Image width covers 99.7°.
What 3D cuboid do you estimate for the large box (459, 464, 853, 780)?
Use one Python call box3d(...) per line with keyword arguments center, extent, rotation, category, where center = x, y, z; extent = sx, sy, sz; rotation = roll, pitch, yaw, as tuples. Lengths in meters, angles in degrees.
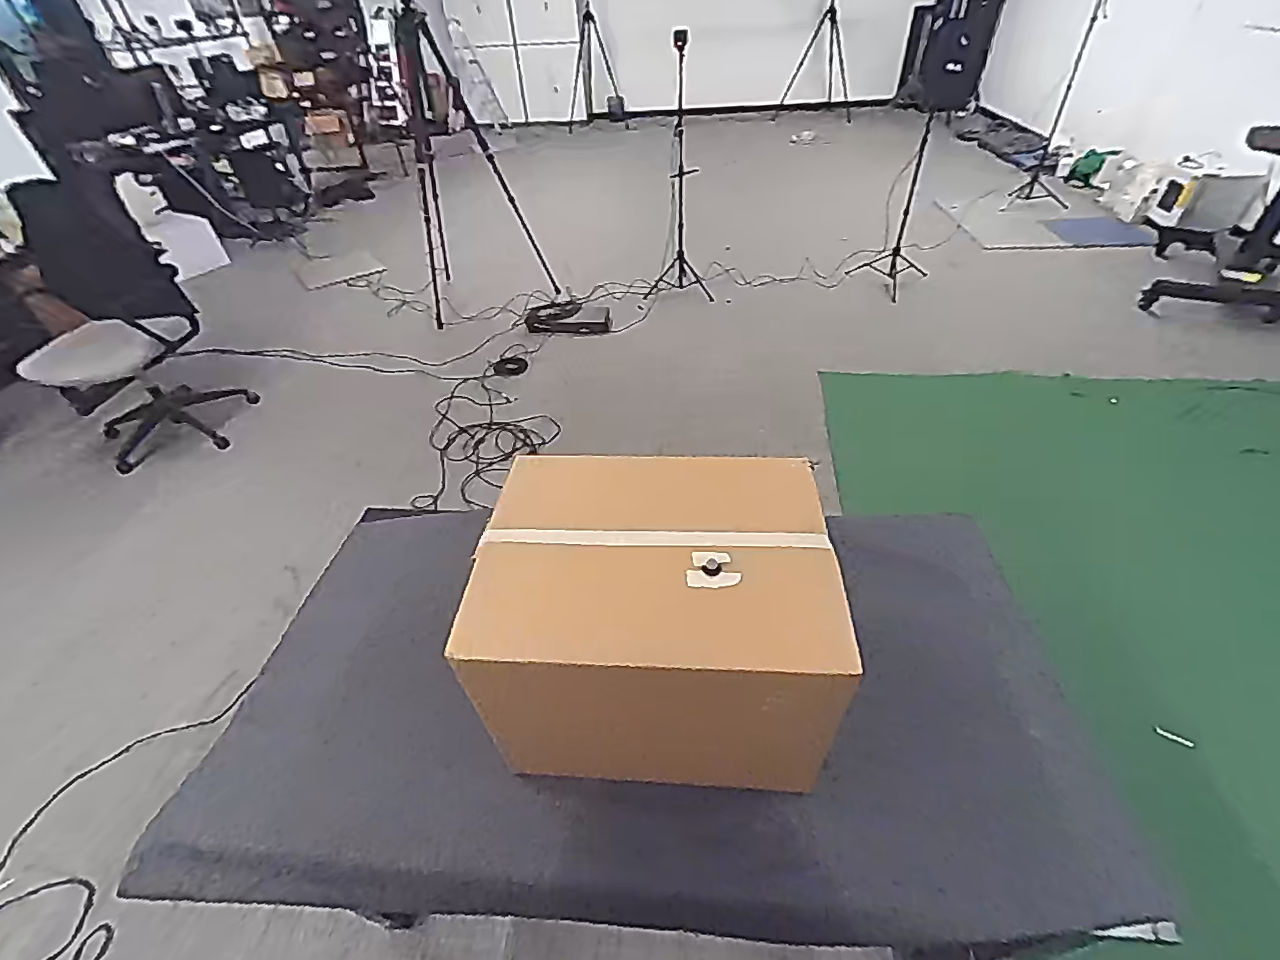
box3d(center=(0.023, 0.190, 0.744), extent=(0.408, 0.320, 0.320), rotation=(1, 43, 4), category="large box")
